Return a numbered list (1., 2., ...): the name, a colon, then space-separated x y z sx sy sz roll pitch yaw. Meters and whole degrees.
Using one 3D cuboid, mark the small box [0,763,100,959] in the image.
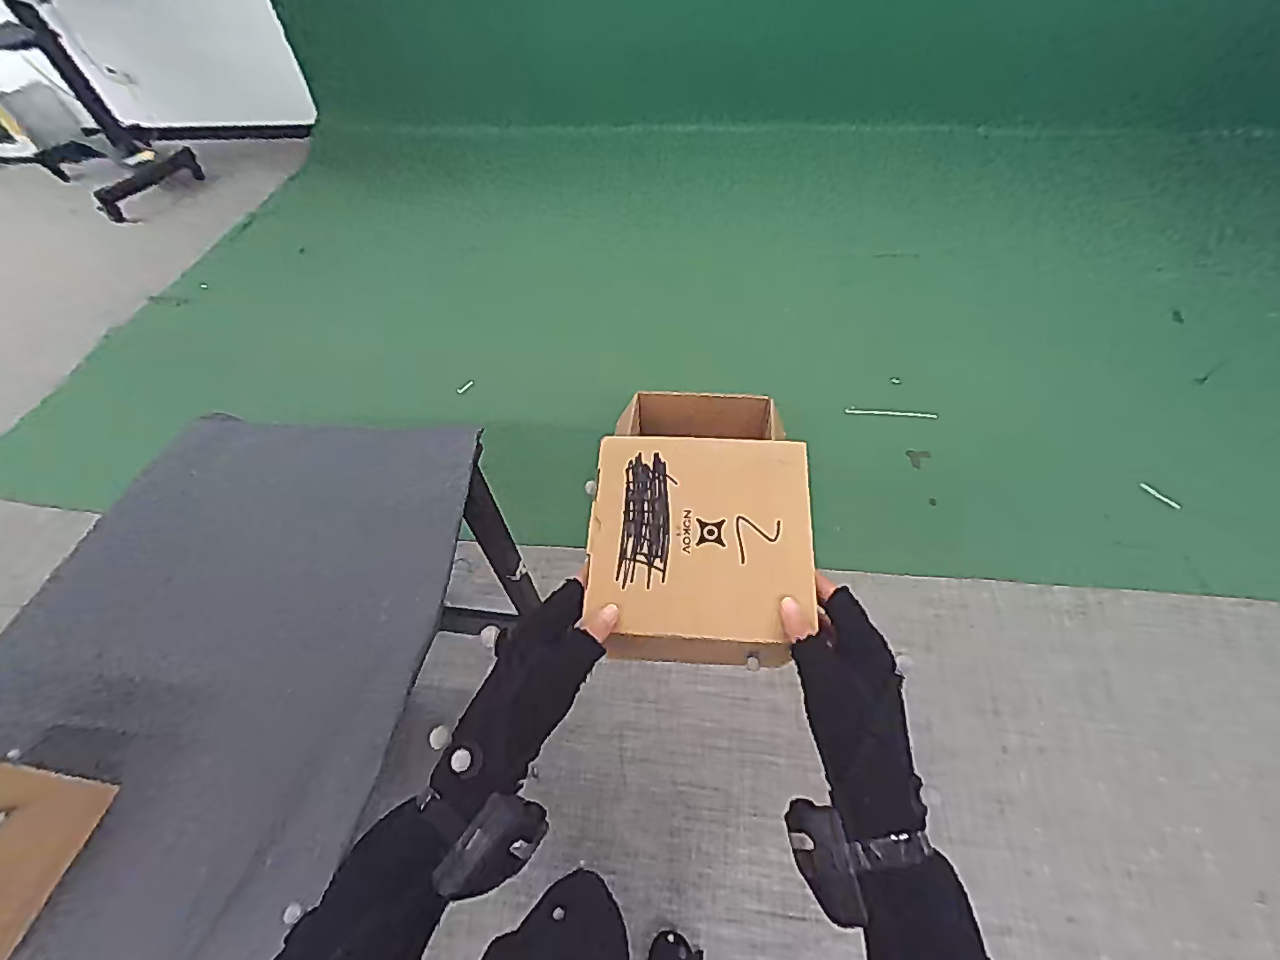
1. small box: -0.735 0.391 0.559 0.168 0.176 0.179 6 53 9
